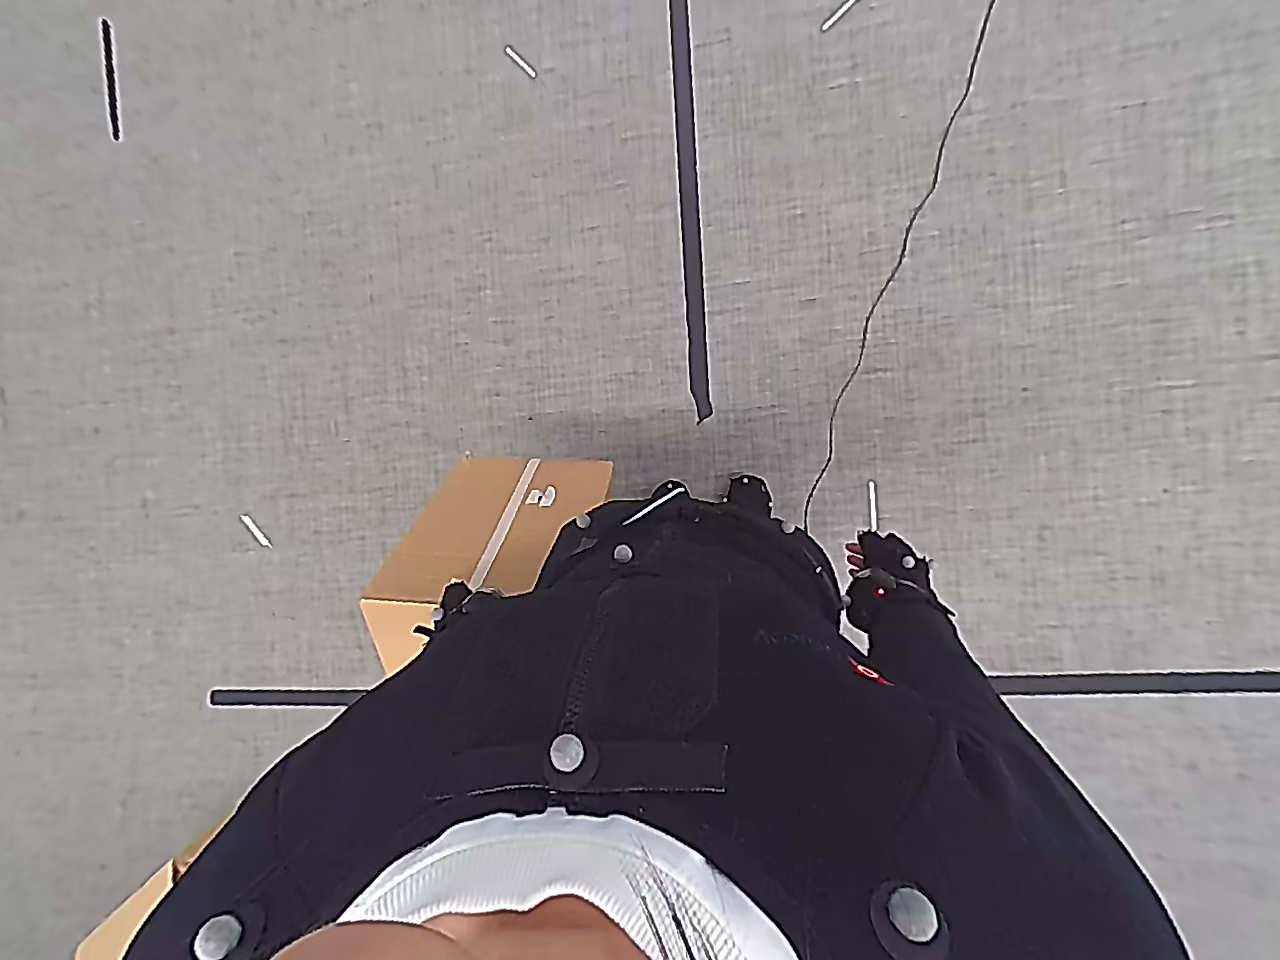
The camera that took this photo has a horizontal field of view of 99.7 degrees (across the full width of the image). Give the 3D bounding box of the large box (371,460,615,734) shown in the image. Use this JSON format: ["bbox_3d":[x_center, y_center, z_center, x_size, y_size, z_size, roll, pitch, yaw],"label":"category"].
[{"bbox_3d":[-0.223,0.199,1.006,0.320,0.408,0.320,4,122,4],"label":"large box"}]
